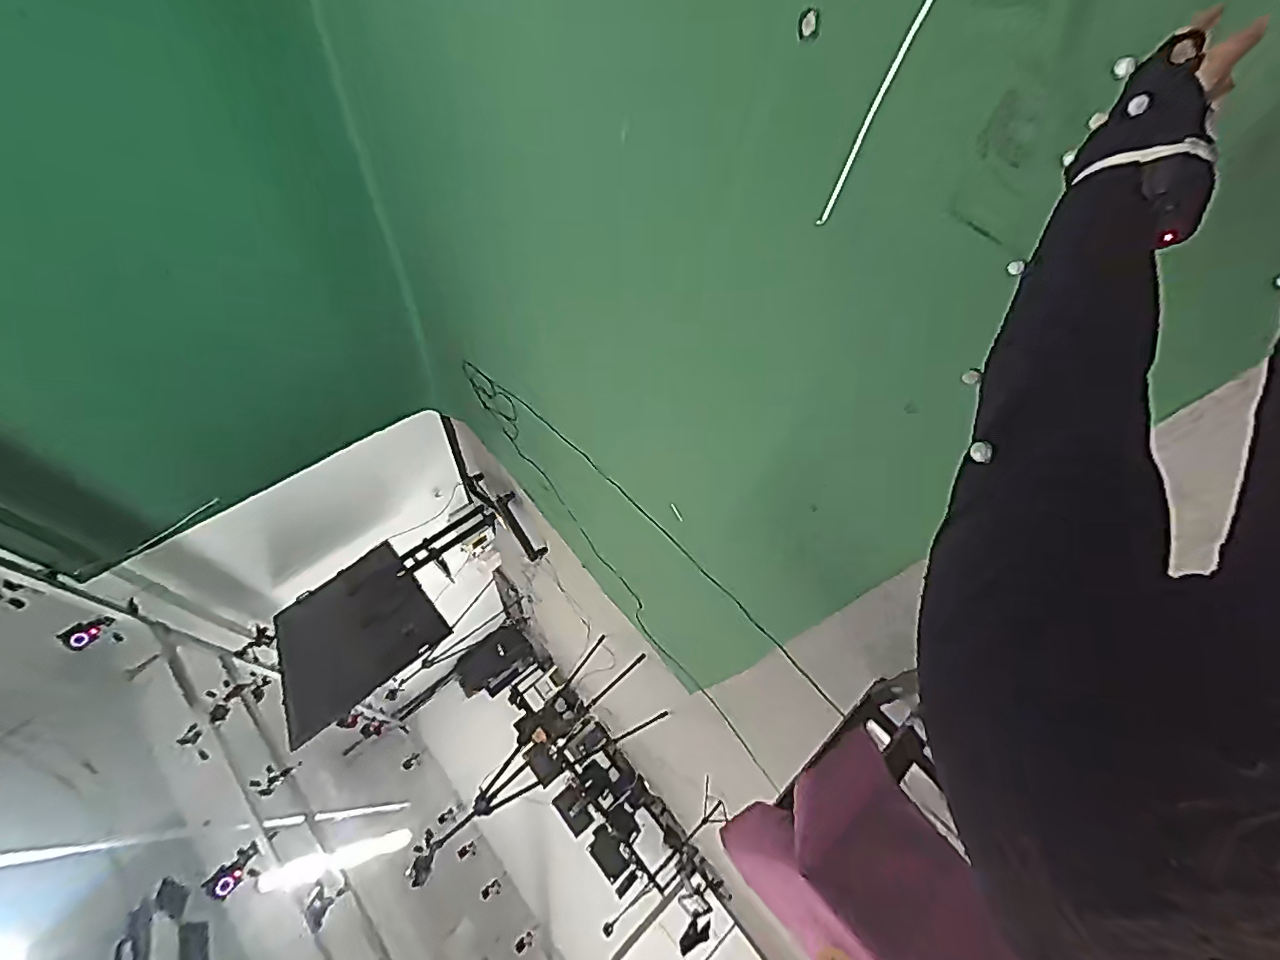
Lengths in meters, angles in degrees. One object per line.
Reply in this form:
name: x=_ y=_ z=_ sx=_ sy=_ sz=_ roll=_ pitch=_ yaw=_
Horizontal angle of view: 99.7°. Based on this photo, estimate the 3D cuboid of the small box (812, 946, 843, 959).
small box: x=0.404 y=1.083 z=1.055 sx=0.179 sy=0.176 sz=0.168 roll=49 pitch=154 yaw=14
